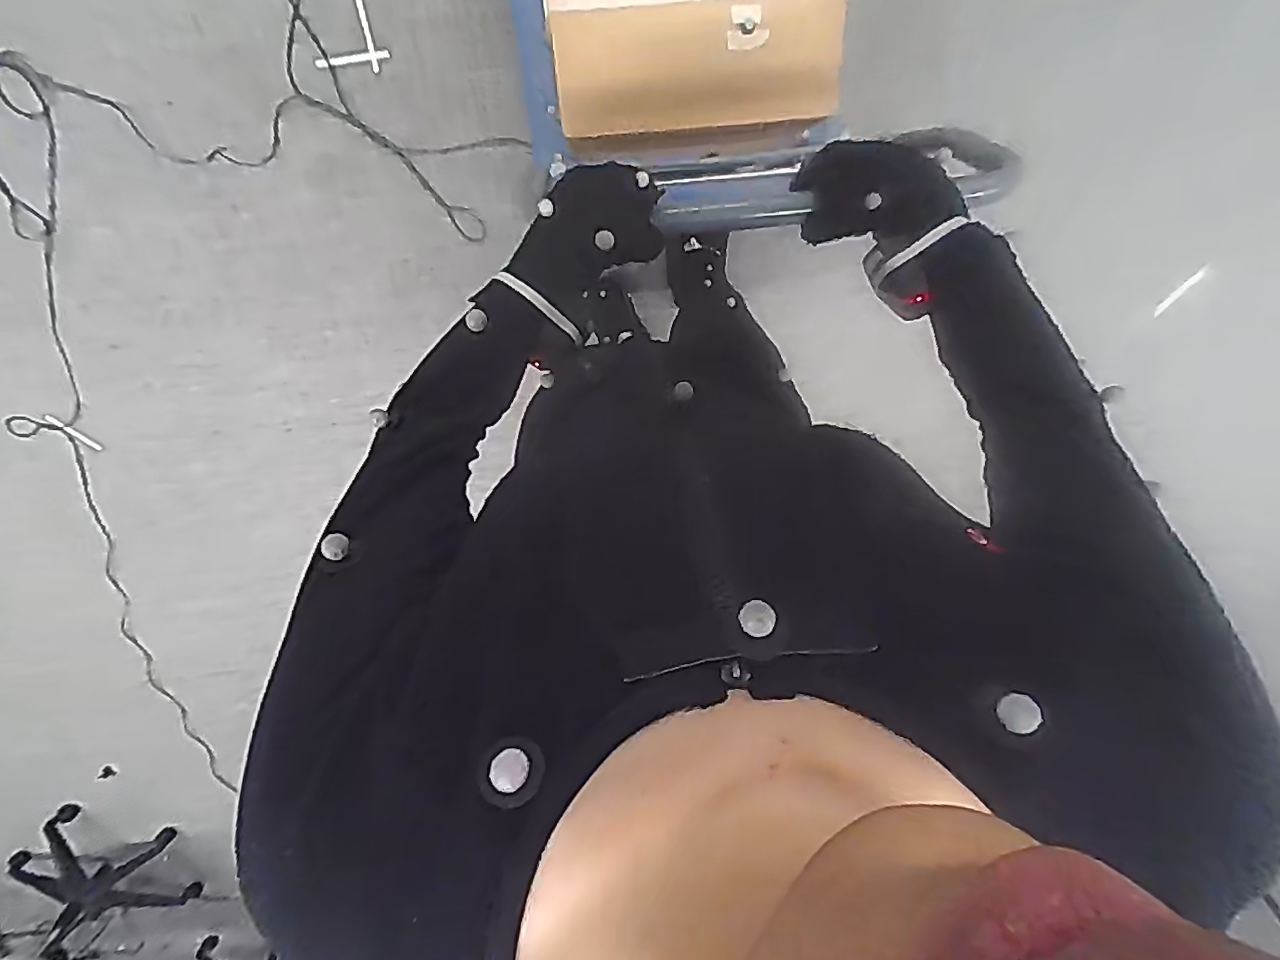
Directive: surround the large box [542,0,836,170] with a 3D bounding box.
[{"bbox_3d":[0.057,-0.704,0.861,0.408,0.320,0.320,-6,116,-2],"label":"large box"}]
